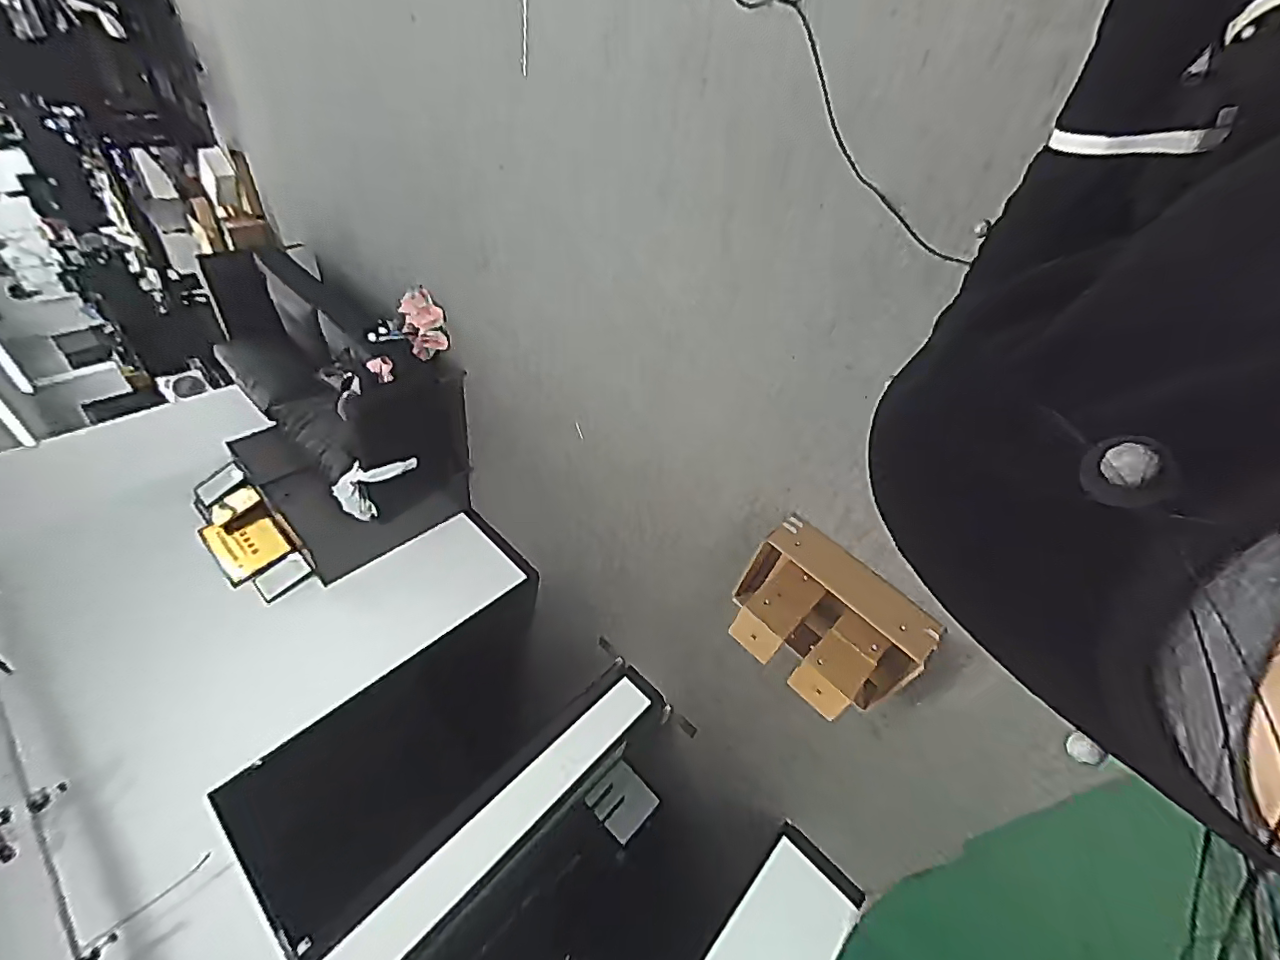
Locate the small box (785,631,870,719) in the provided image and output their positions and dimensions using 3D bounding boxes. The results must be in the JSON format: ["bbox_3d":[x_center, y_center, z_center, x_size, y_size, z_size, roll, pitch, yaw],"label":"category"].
[{"bbox_3d":[0.612,0.629,1.760,0.179,0.176,0.168,40,139,25],"label":"small box"}]

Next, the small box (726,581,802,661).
[{"bbox_3d":[0.431,0.481,1.863,0.168,0.176,0.179,41,140,22],"label":"small box"}]
